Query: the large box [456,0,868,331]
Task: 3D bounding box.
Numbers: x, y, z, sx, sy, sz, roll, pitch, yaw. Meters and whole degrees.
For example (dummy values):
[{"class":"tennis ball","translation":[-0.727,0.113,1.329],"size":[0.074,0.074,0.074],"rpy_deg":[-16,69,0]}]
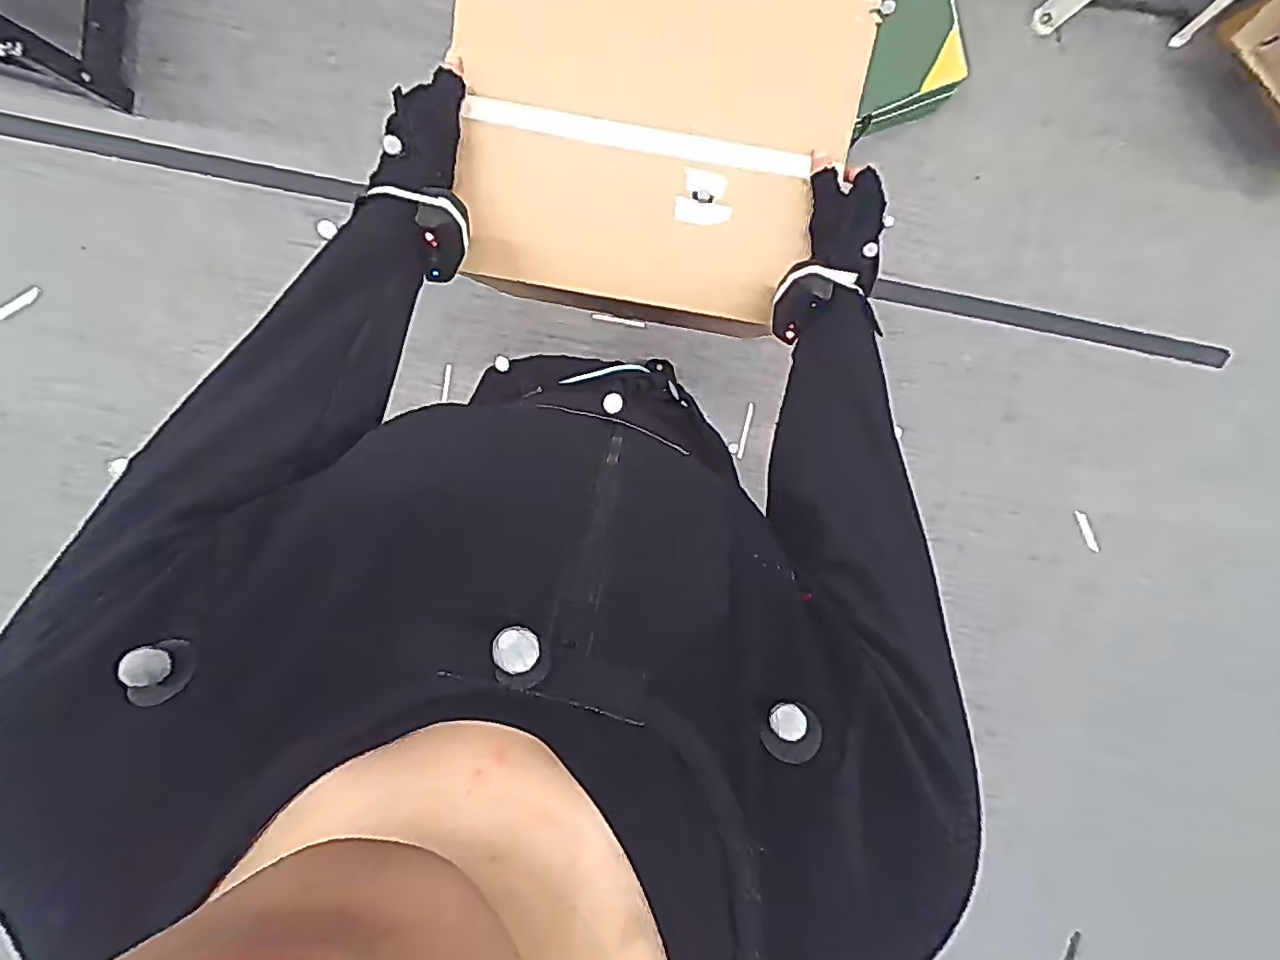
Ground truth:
[{"class":"large box","translation":[0.010,-0.387,0.714],"size":[0.408,0.320,0.320],"rpy_deg":[9,104,-3]}]
